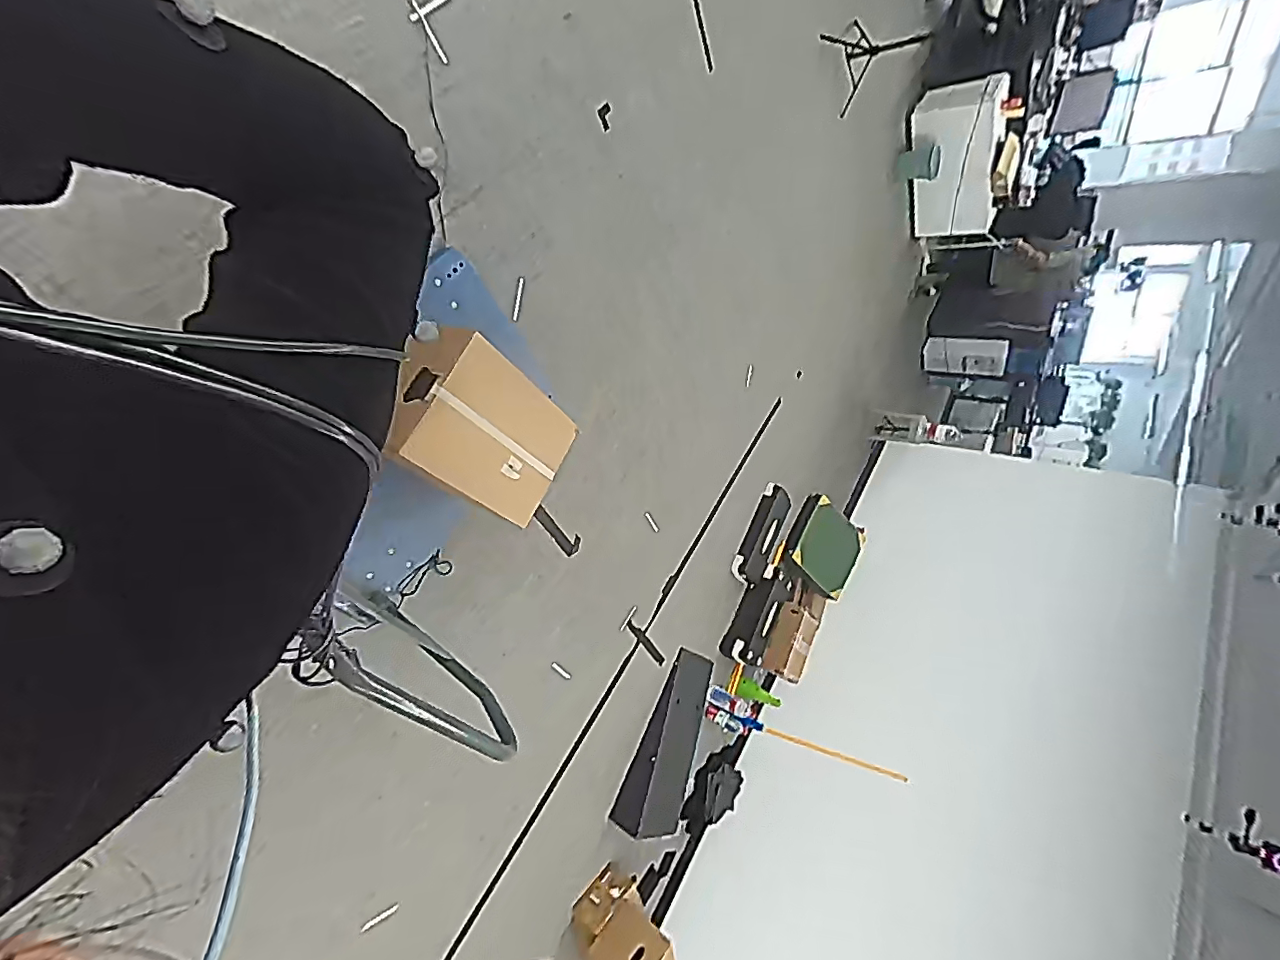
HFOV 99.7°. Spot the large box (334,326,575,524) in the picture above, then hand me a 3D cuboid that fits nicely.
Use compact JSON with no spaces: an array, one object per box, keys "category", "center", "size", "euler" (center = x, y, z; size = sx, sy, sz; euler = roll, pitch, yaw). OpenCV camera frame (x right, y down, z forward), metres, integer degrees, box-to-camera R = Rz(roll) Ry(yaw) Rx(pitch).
[{"category":"large box","center":[-0.447,-0.135,1.350],"size":[0.408,0.320,0.320],"euler":[44,68,-50]}]
